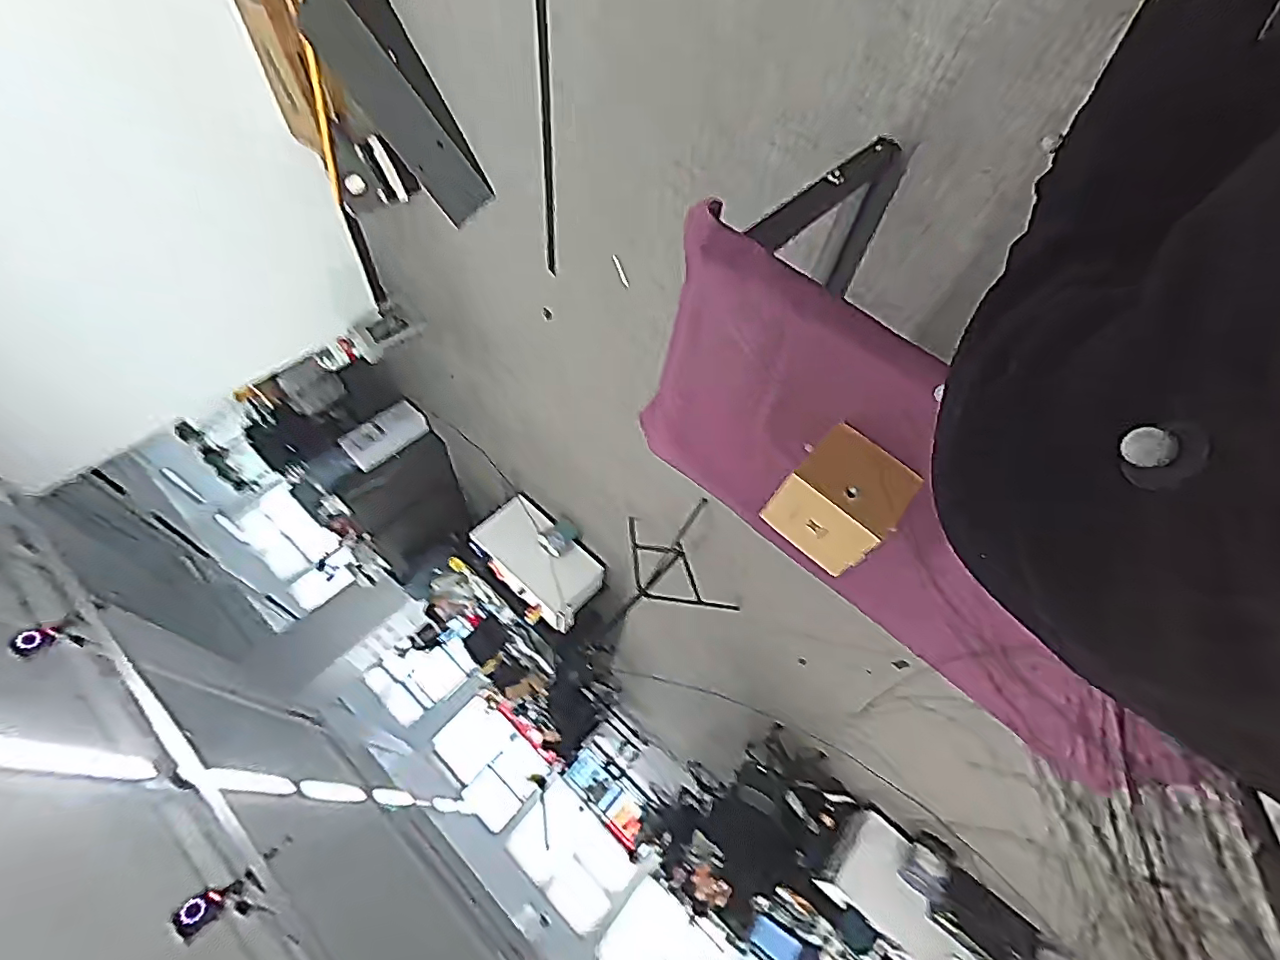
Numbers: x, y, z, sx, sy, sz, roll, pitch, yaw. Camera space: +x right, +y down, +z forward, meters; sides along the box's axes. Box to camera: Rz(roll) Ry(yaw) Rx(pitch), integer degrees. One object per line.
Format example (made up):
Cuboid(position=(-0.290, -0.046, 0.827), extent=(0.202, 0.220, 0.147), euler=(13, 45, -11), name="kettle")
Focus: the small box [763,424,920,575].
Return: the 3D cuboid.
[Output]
Cuboid(position=(0.359, 0.033, 0.970), extent=(0.179, 0.176, 0.168), euler=(41, 151, 15), name="small box")
